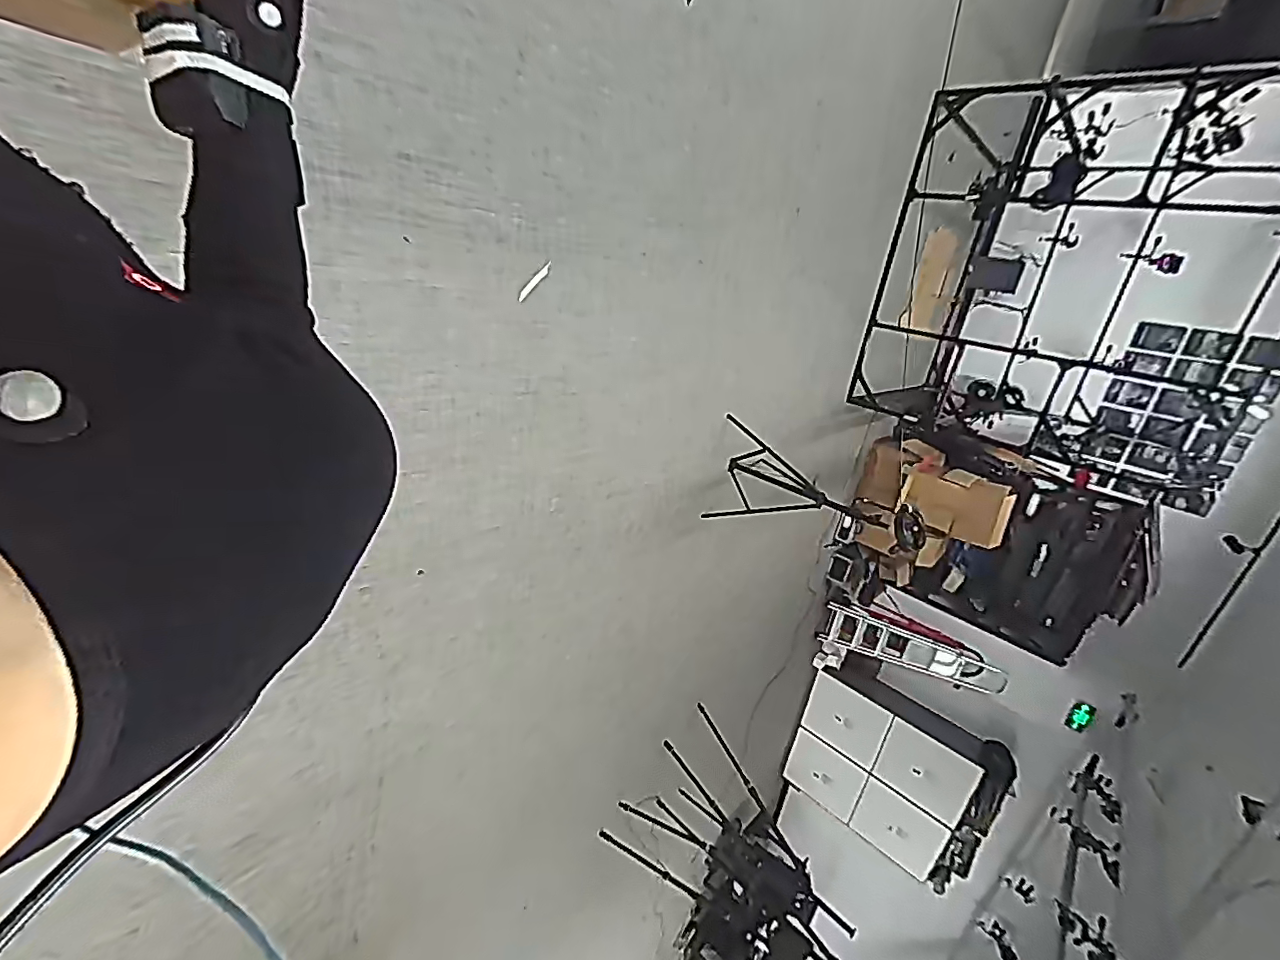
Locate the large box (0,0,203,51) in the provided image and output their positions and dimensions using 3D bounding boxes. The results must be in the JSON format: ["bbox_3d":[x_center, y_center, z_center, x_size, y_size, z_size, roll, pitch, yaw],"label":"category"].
[{"bbox_3d":[-0.528,-0.487,0.270,0.408,0.320,0.320,-15,124,-49],"label":"large box"}]
